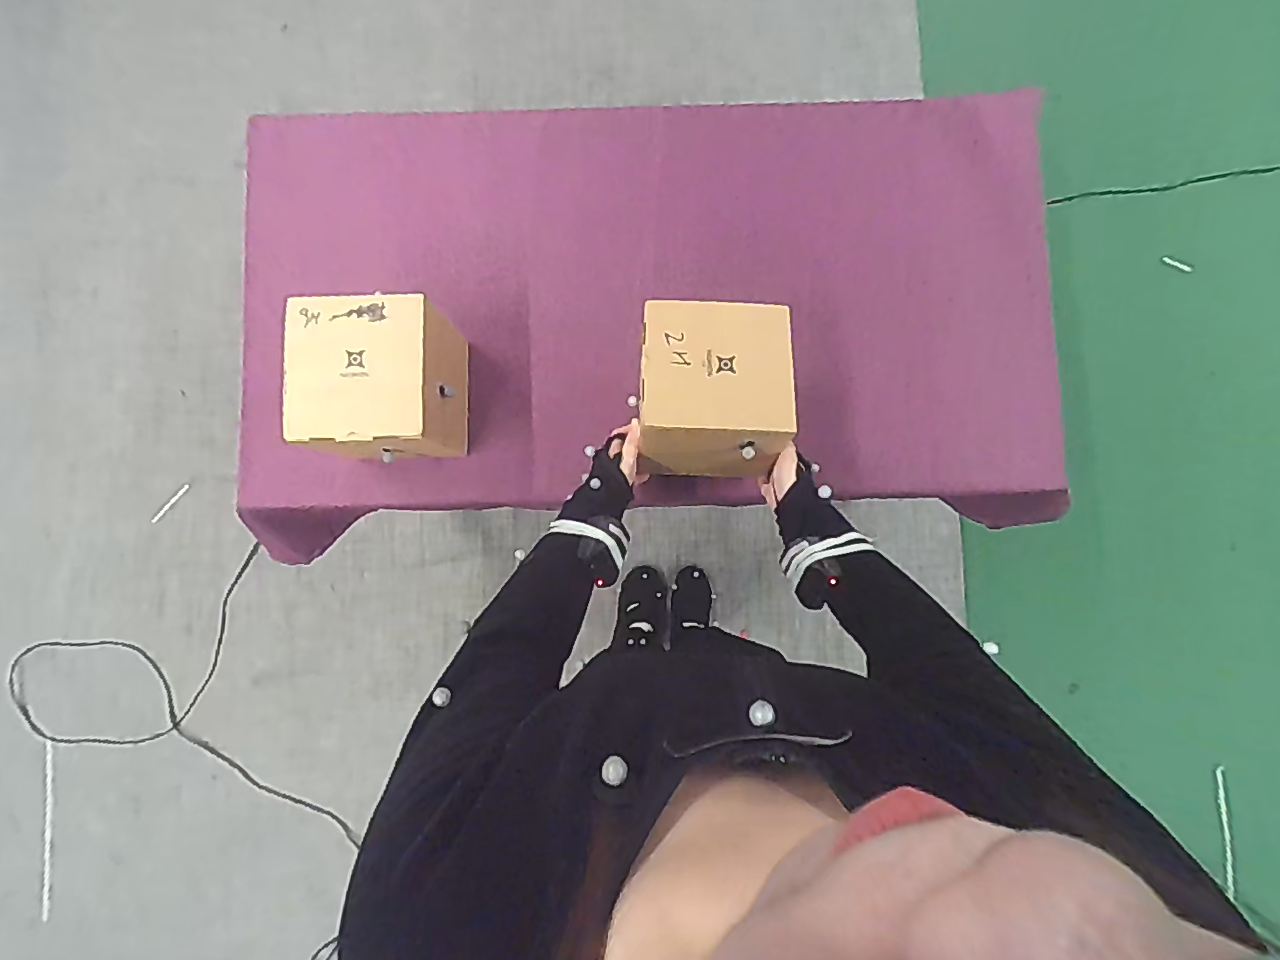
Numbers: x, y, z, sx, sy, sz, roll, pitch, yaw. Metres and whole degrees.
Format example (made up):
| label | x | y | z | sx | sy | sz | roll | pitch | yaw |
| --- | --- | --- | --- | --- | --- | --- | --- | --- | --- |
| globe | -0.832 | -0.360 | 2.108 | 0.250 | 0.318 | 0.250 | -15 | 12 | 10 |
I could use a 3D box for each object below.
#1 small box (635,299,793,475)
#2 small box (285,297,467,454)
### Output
| label | x | y | z | sx | sy | sz | roll | pitch | yaw |
| --- | --- | --- | --- | --- | --- | --- | --- | --- | --- |
| small box | 0.086 | -0.109 | 0.697 | 0.179 | 0.176 | 0.168 | 3 | 73 | 0 |
| small box | -0.337 | -0.126 | 0.720 | 0.168 | 0.176 | 0.179 | -1 | 86 | 0 |
